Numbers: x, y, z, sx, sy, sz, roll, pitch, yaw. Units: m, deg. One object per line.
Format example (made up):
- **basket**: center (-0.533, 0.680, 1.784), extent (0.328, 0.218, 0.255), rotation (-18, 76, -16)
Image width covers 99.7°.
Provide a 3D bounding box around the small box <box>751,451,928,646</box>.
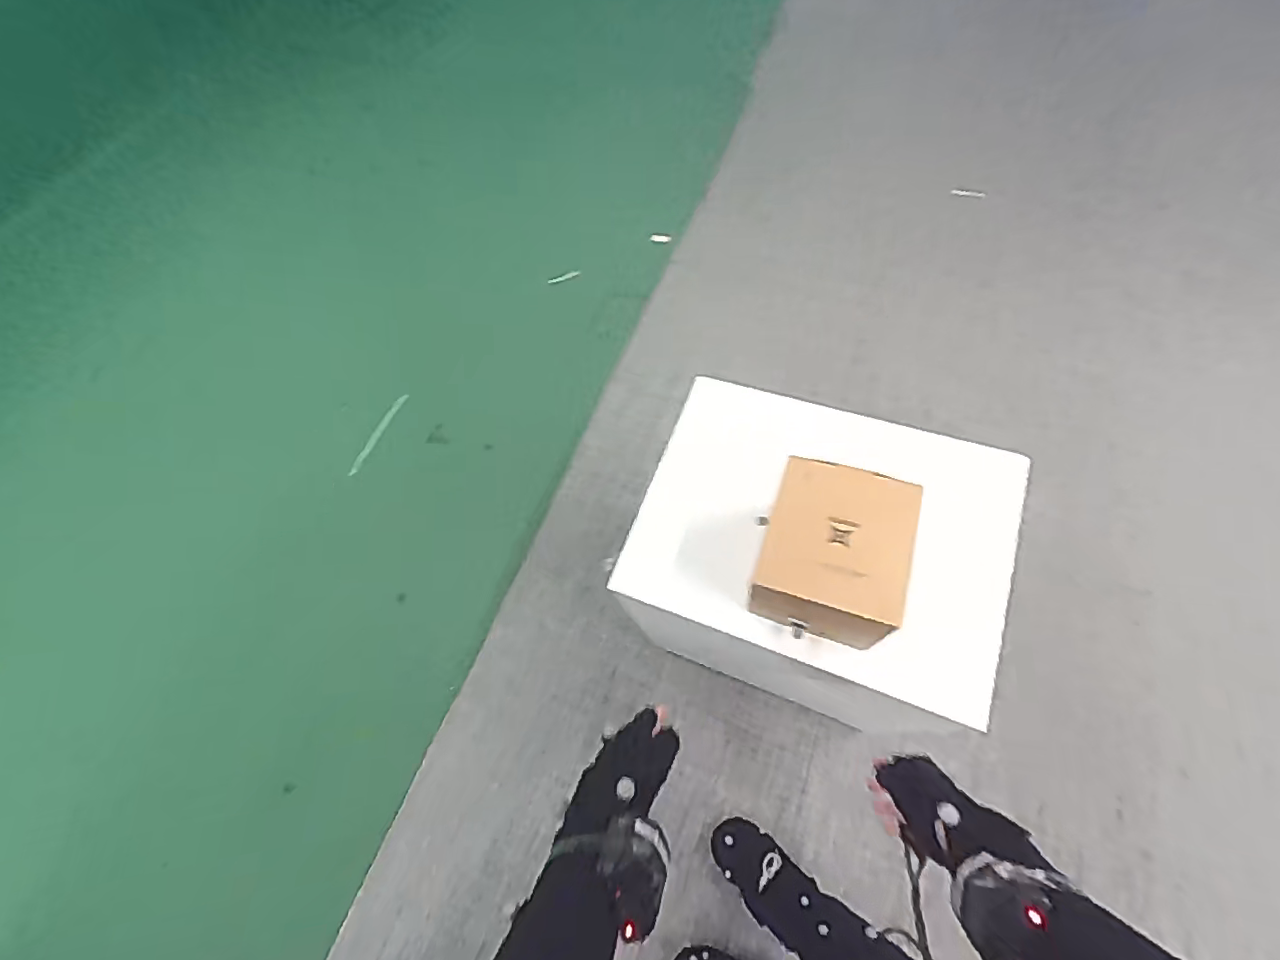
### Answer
- **small box**: center (0.240, 0.092, 0.685), extent (0.168, 0.176, 0.179), rotation (15, 70, 17)
